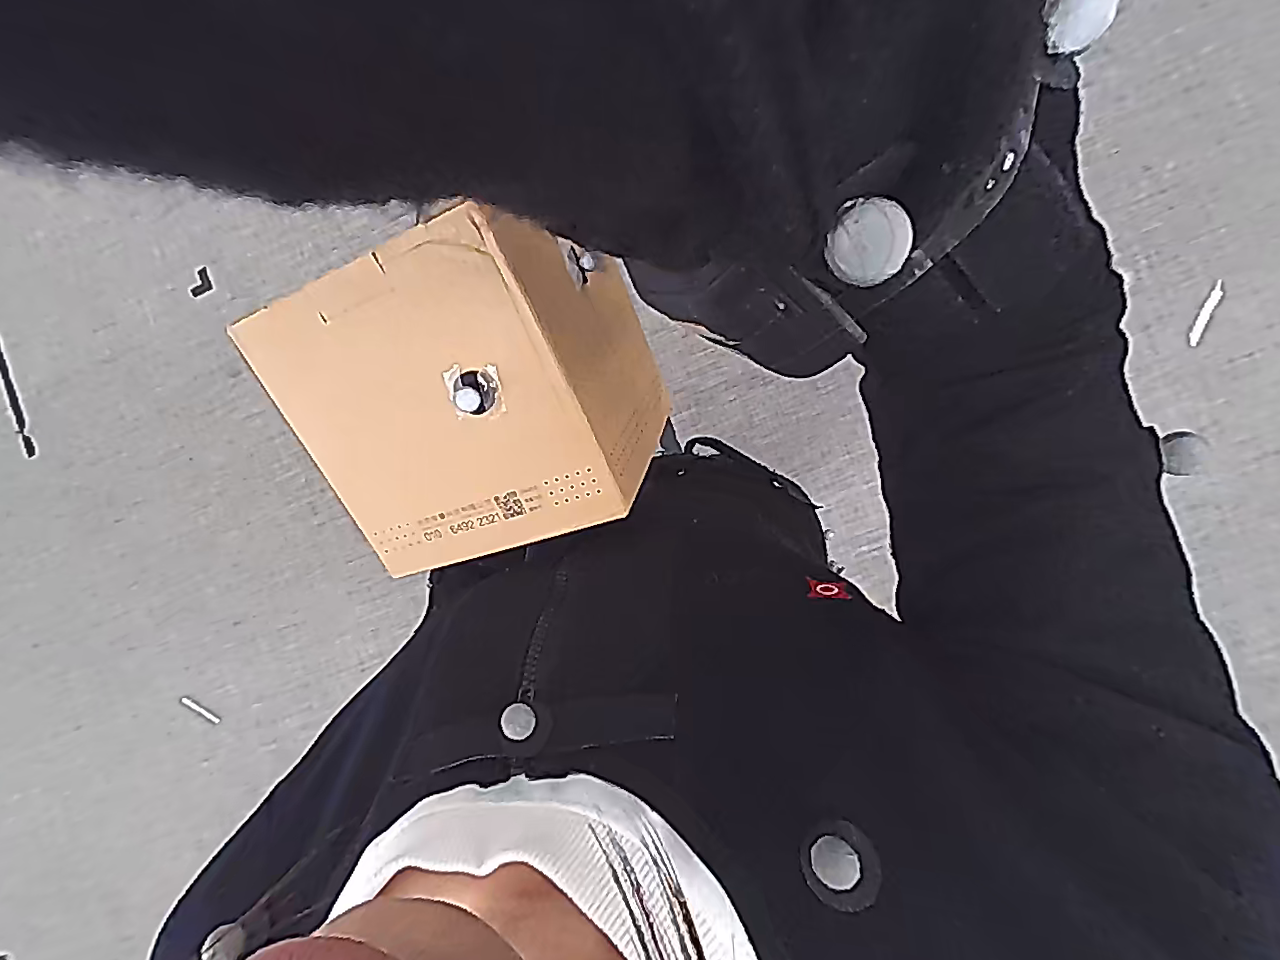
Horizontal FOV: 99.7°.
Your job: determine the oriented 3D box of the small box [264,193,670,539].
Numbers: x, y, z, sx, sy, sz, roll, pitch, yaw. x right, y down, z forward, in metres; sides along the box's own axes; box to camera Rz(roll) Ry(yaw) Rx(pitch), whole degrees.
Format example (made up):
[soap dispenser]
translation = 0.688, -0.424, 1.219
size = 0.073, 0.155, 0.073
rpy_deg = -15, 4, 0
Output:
[small box]
translation = -0.090, -0.074, 0.373
size = 0.168, 0.179, 0.176
rpy_deg = -15, 112, 20
